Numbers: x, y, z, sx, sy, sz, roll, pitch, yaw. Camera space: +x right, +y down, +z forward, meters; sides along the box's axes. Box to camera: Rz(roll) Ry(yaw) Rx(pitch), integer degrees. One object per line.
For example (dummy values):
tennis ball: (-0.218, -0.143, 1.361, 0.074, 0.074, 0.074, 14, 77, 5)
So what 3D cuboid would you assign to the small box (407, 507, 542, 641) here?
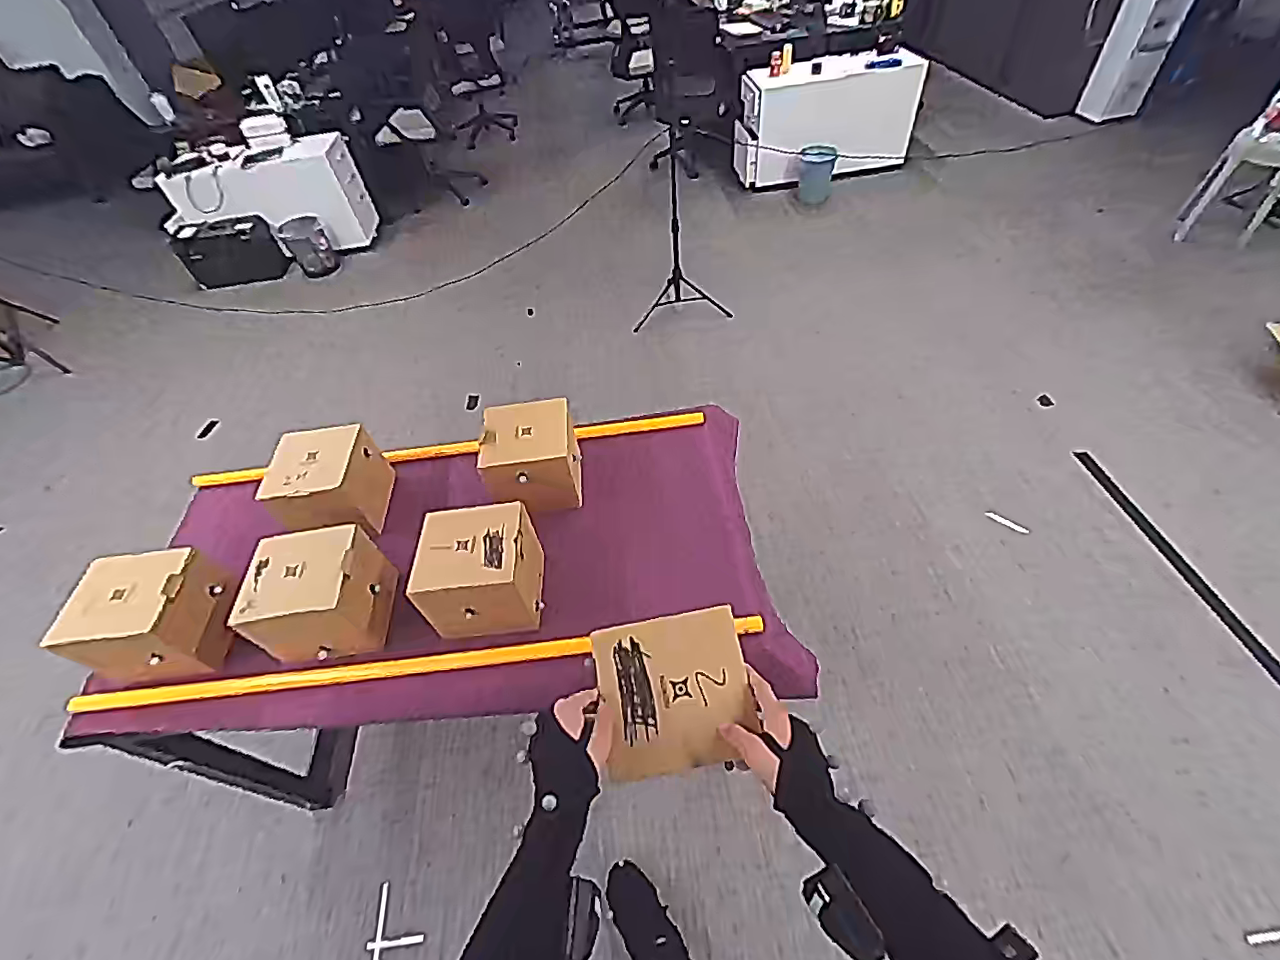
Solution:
small box: (-0.279, 0.170, 0.961, 0.179, 0.176, 0.168, -7, 48, 3)

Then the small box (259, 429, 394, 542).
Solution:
small box: (-0.641, 0.020, 1.135, 0.168, 0.176, 0.179, -8, 51, 1)

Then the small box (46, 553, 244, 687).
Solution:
small box: (-0.854, 0.251, 0.963, 0.179, 0.176, 0.168, -7, 49, -2)

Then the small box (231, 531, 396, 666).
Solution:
small box: (-0.560, 0.213, 0.961, 0.179, 0.176, 0.168, -8, 49, -1)

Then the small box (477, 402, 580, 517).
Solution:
small box: (-0.222, -0.037, 1.131, 0.179, 0.176, 0.168, -8, 50, 1)
